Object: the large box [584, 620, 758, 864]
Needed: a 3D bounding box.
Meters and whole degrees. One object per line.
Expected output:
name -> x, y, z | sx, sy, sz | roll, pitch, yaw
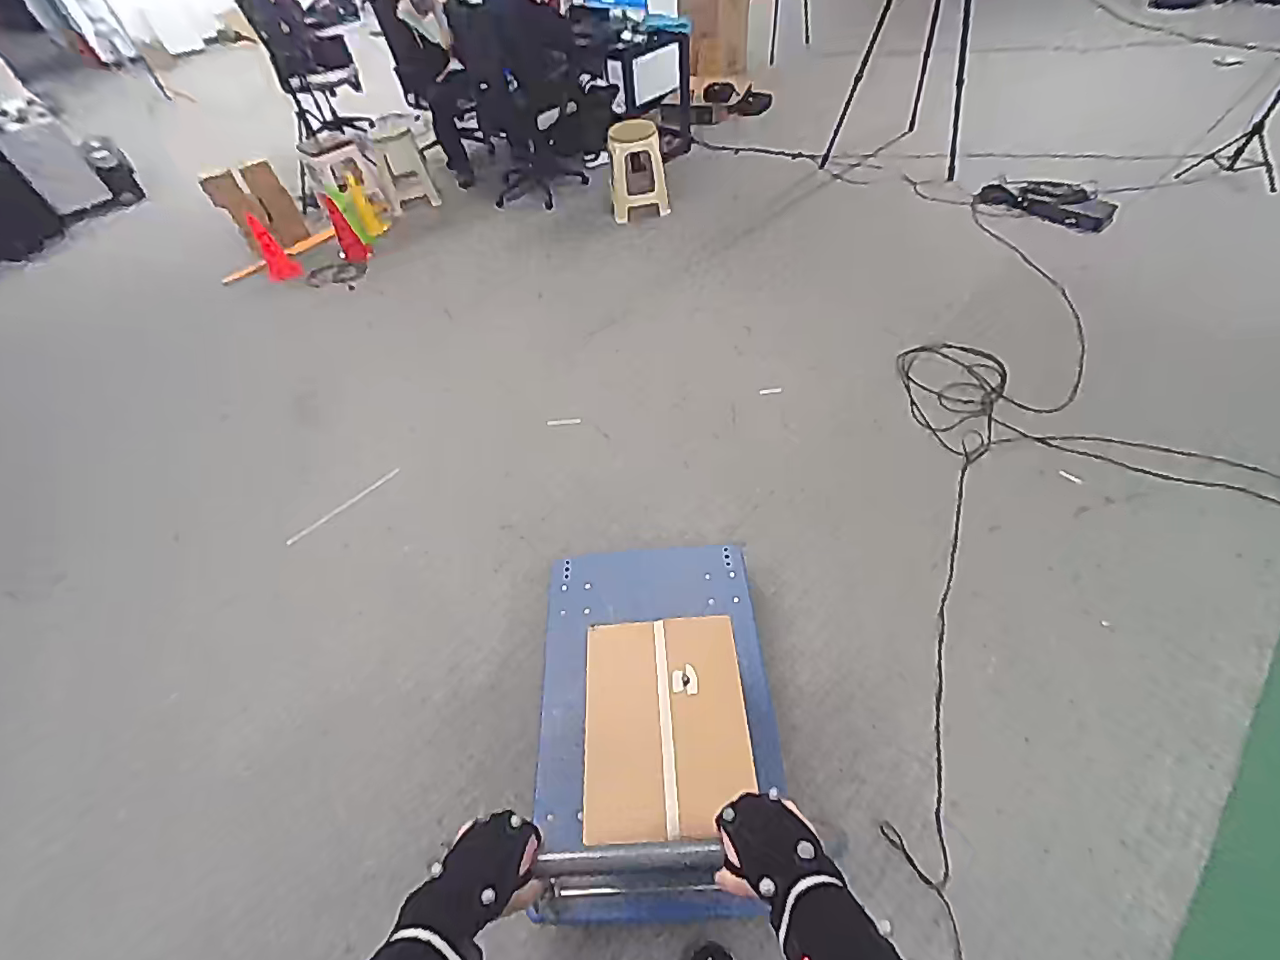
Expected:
large box -> 0.059, 0.569, 1.181 | 0.320, 0.320, 0.408 | -5, 49, 2
